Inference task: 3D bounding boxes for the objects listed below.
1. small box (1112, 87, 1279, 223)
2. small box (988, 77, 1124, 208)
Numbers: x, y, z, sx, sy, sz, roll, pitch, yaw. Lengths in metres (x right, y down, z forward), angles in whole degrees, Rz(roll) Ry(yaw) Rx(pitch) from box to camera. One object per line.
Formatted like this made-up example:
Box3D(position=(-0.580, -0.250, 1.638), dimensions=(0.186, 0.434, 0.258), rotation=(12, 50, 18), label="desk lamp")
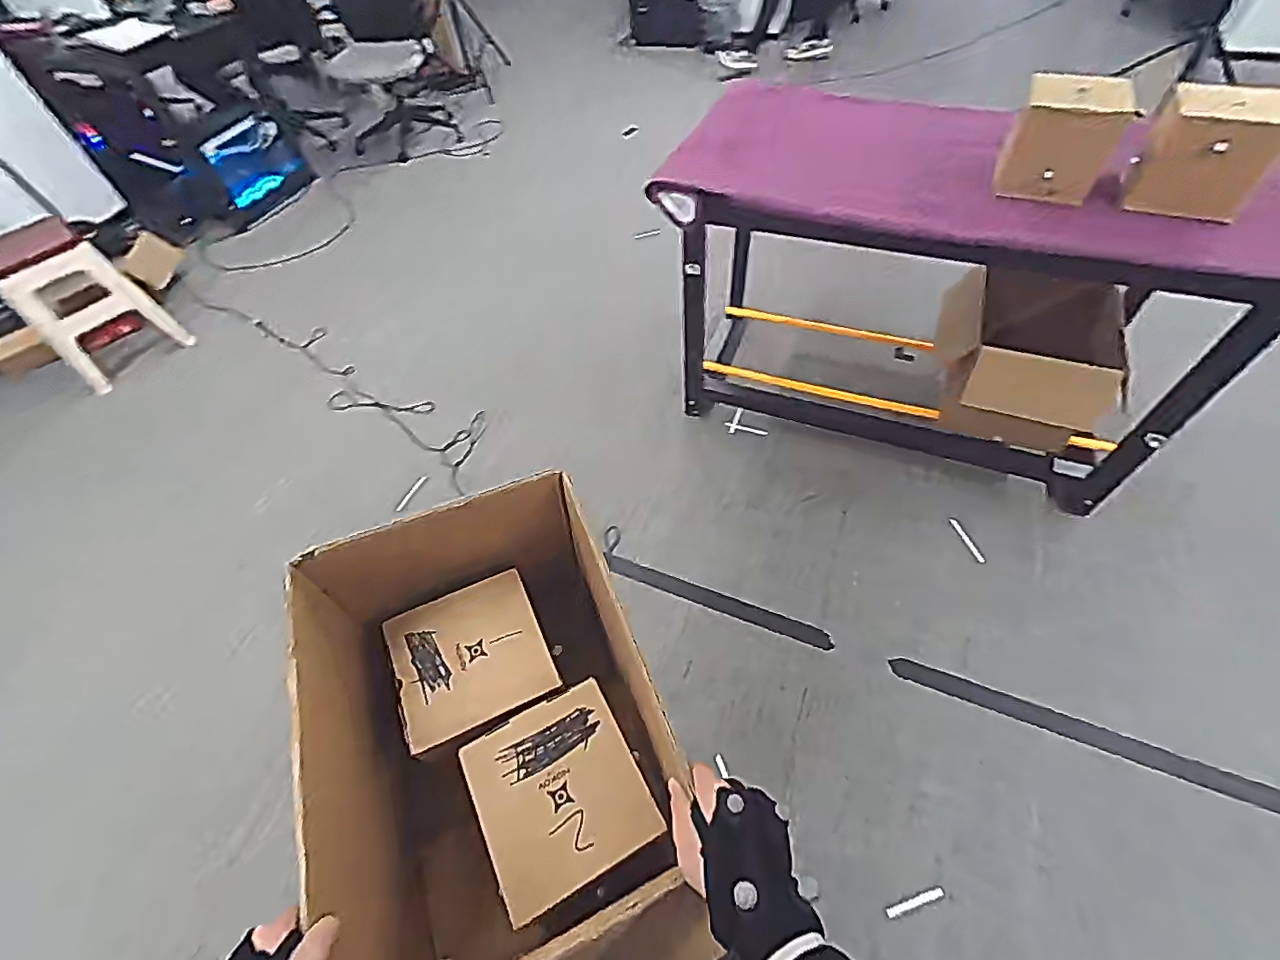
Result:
Box3D(position=(1.054, -0.615, 1.029), dimensions=(0.179, 0.176, 0.168), rotation=(20, 56, 19), label="small box")
Box3D(position=(0.836, -0.686, 1.100), dimensions=(0.168, 0.176, 0.179), rotation=(18, 57, 18), label="small box")
